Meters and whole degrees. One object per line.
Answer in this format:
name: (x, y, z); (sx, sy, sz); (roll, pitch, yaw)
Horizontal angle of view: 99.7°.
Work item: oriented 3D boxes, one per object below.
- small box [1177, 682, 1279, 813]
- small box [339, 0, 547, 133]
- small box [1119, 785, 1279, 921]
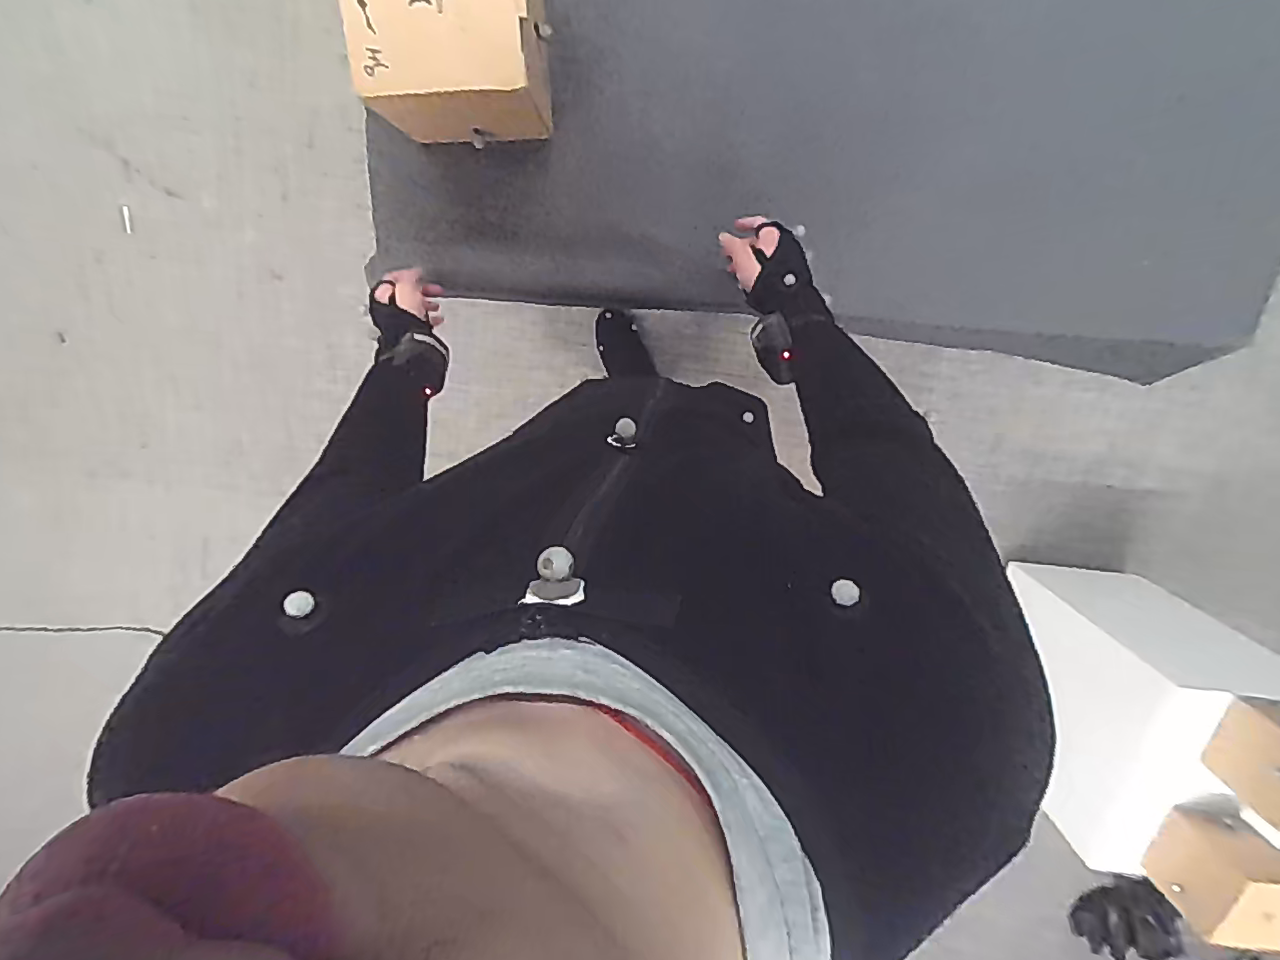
small box: (1.248, 0.528, 1.076); (0.168, 0.176, 0.179); (6, 112, -2)
small box: (-0.196, -0.486, 0.574); (0.179, 0.176, 0.168); (-2, 109, -1)
small box: (1.211, 0.807, 1.179); (0.168, 0.176, 0.179); (8, 108, -4)
